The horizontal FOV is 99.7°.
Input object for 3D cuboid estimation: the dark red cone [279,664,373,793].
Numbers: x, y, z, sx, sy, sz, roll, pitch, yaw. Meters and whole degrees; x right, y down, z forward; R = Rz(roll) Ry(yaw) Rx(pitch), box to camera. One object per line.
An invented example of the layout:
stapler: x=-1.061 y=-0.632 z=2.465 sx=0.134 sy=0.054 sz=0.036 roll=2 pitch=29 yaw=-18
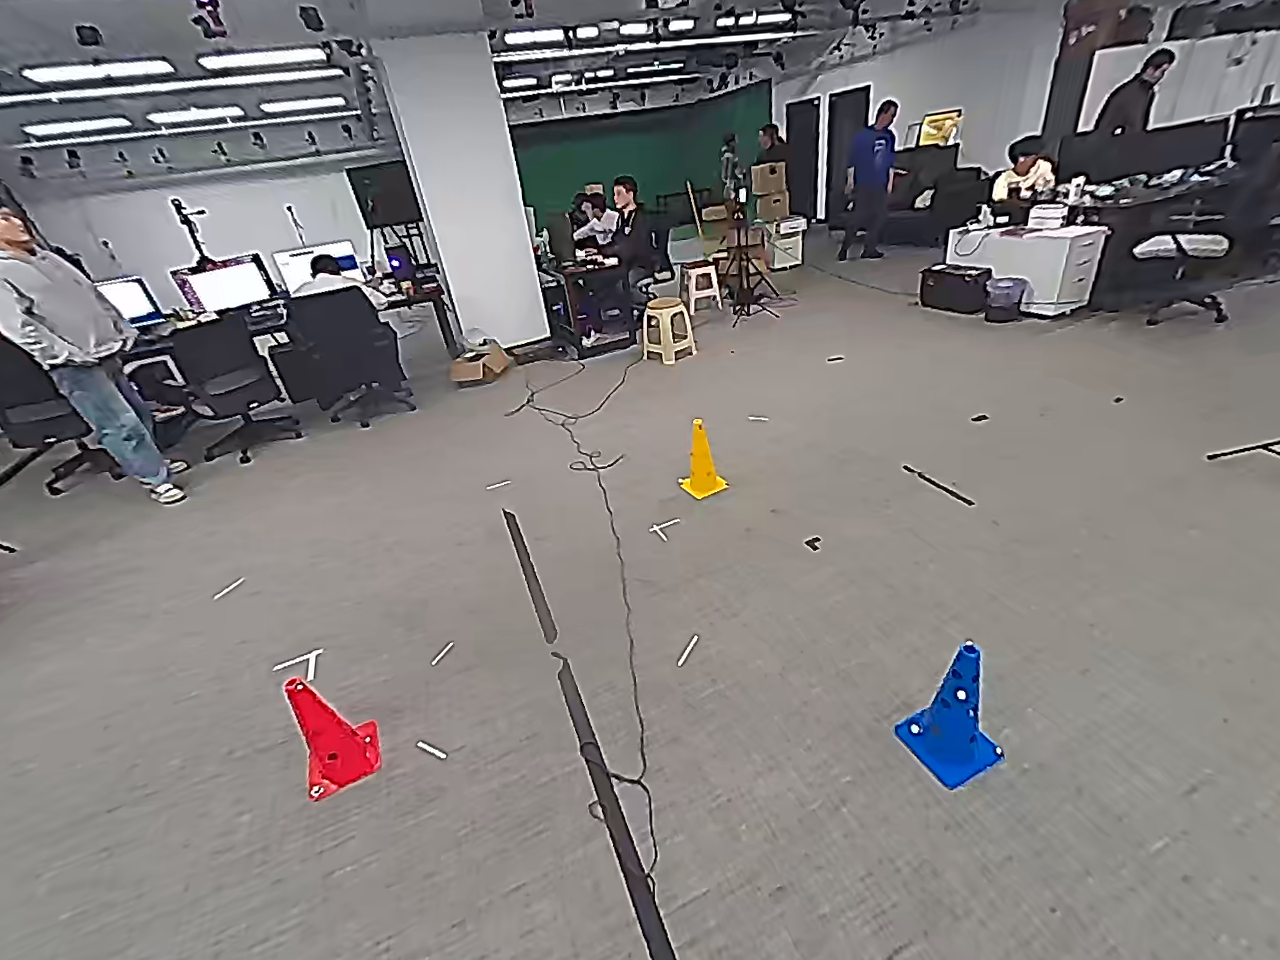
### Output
dark red cone: x=-0.938 y=0.685 z=1.558 sx=0.201 sy=0.394 sz=0.202 roll=-21 pitch=32 yaw=-23

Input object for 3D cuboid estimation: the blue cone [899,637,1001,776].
blue cone: x=0.807 y=0.547 z=1.371 sx=0.192 sy=0.380 sz=0.193 roll=-17 pitch=31 yaw=-15
